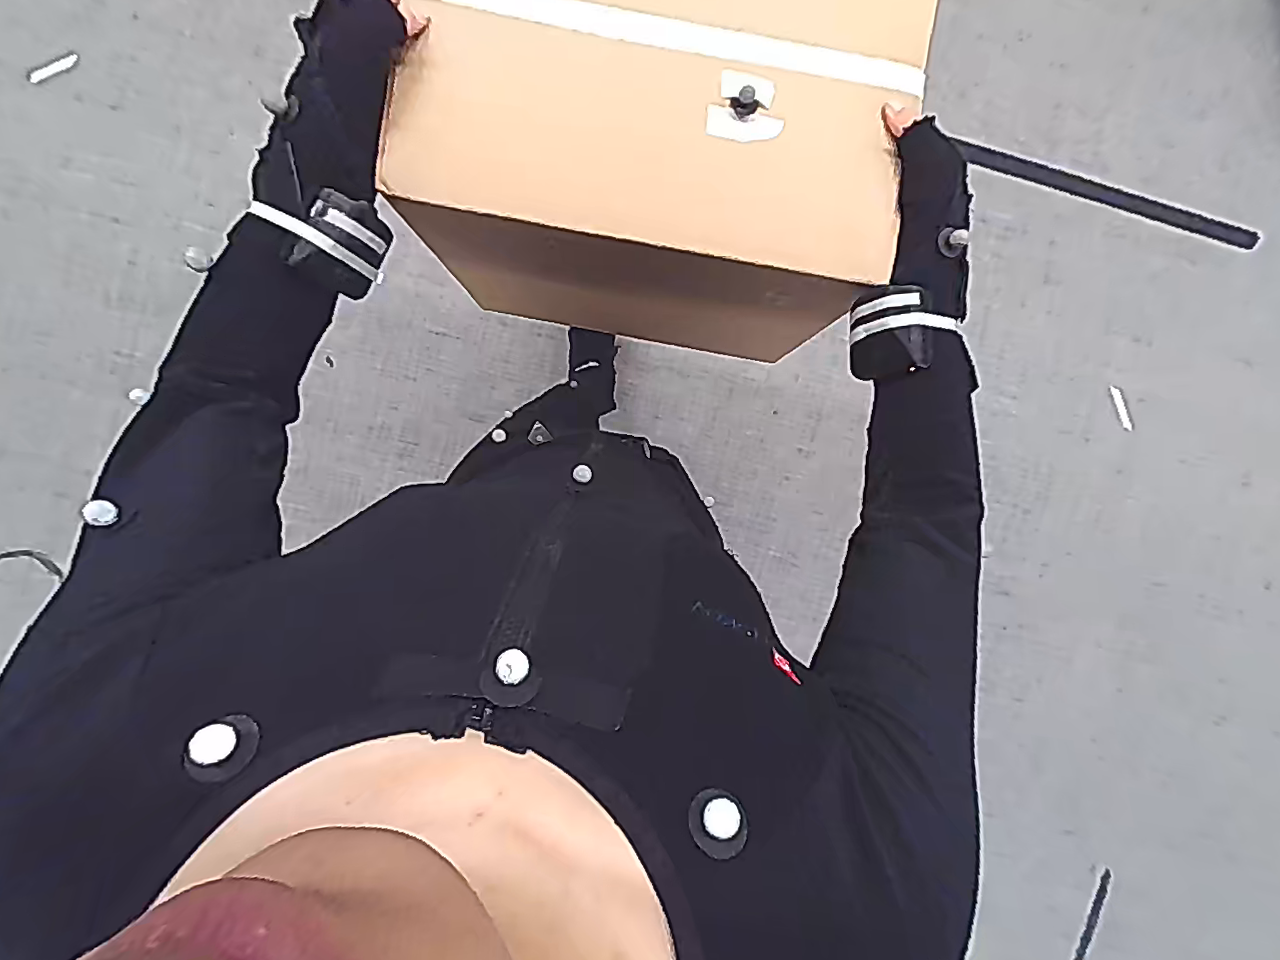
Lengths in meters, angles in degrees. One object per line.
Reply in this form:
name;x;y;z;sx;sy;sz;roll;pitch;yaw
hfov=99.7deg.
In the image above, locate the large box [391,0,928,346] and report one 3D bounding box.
large box;0.016;-0.356;0.573;0.408;0.320;0.320;10;91;-3
